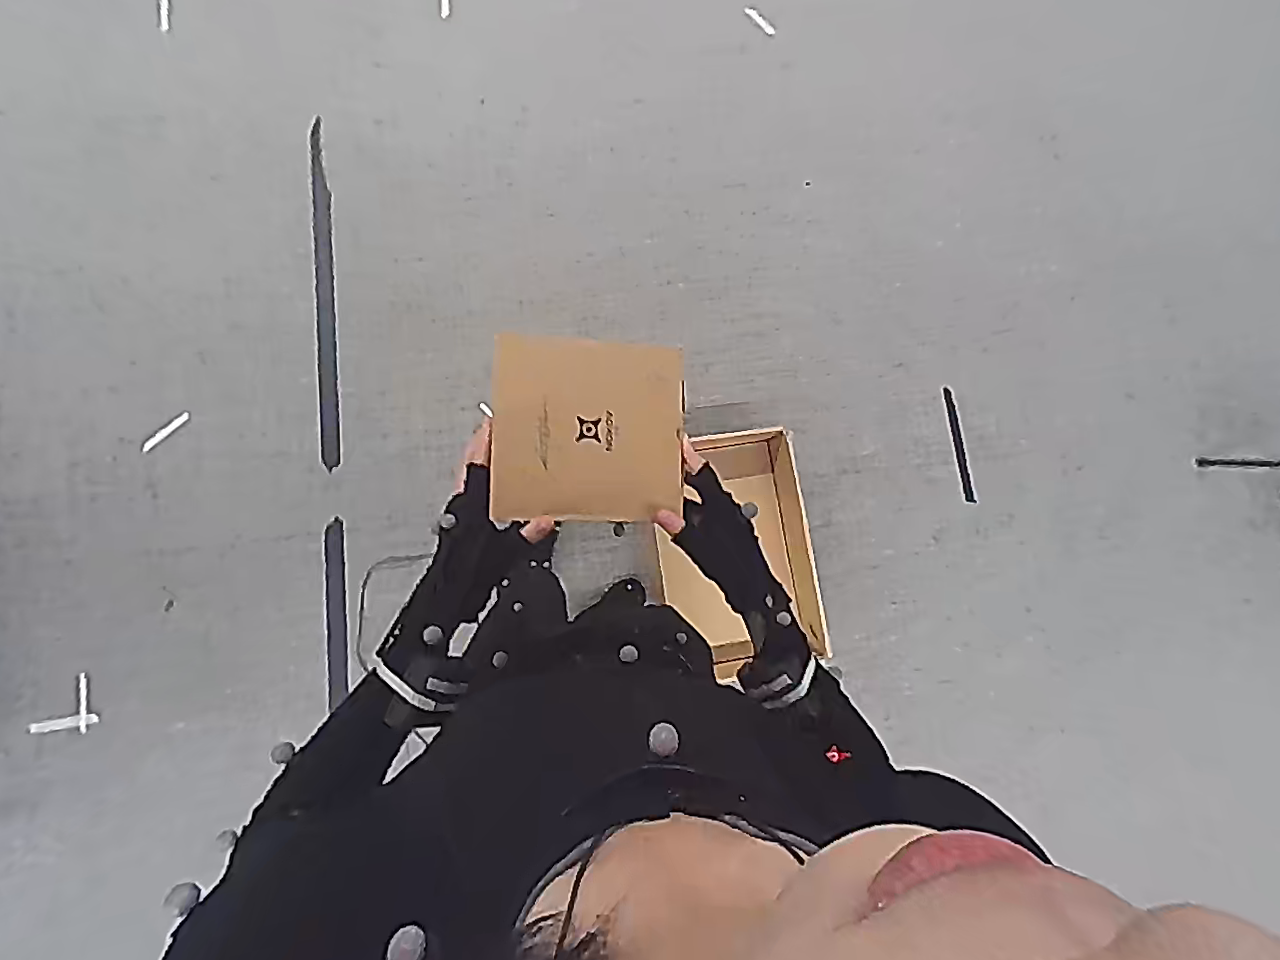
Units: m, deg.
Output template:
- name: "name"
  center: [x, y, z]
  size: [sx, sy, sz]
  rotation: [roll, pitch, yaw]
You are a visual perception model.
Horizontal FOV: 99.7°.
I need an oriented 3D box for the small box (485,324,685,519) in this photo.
- name: "small box"
  center: [-0.065, -0.045, 0.549]
  size: [0.179, 0.176, 0.168]
  rotation: [0, 86, -15]
